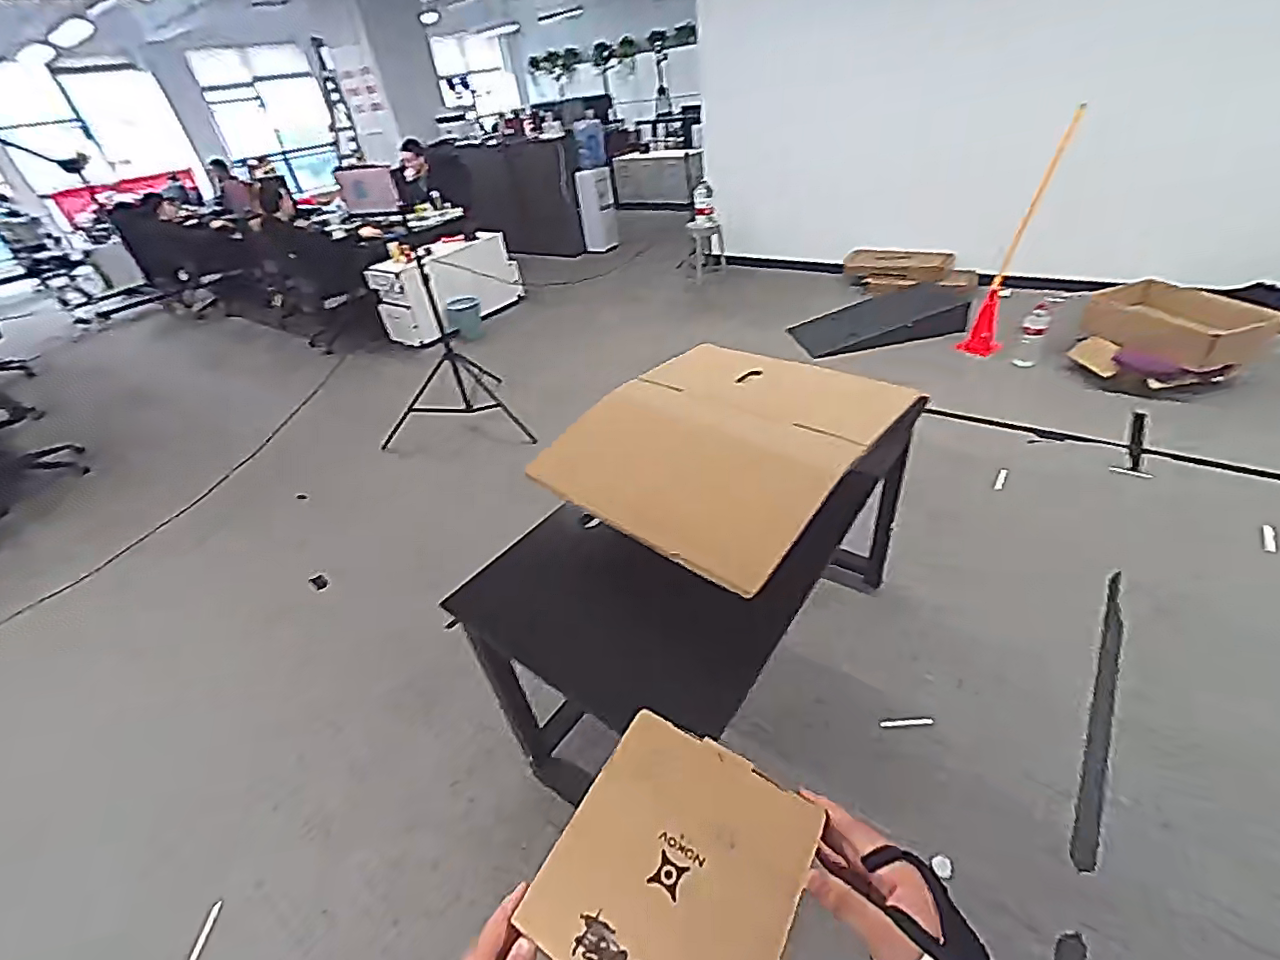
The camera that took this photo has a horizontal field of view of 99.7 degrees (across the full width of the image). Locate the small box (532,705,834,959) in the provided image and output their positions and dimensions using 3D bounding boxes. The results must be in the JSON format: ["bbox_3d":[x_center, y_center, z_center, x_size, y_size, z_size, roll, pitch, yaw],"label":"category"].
[{"bbox_3d":[0.040,0.333,0.443,0.168,0.176,0.179,19,45,28],"label":"small box"}]
